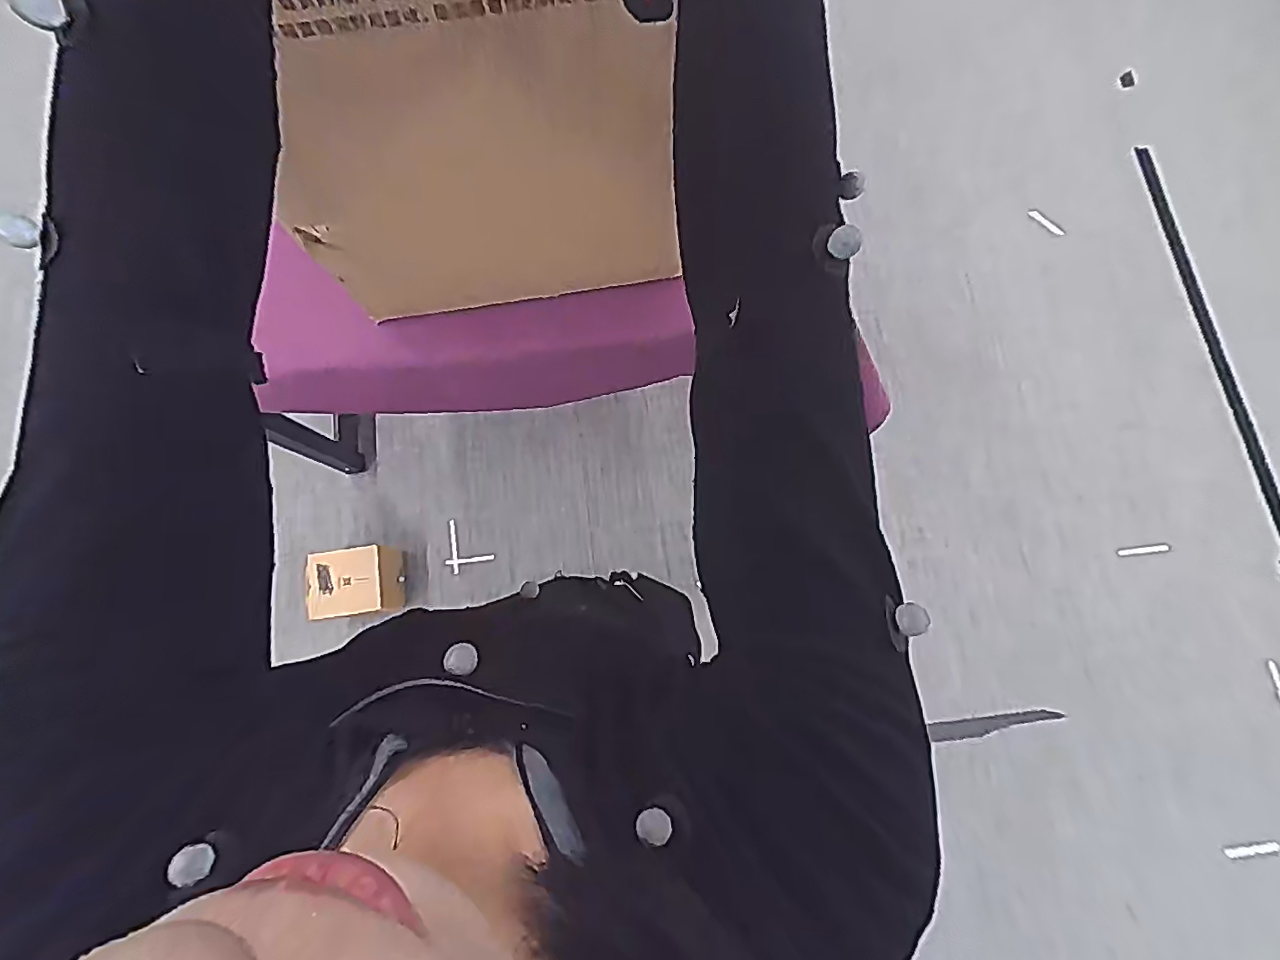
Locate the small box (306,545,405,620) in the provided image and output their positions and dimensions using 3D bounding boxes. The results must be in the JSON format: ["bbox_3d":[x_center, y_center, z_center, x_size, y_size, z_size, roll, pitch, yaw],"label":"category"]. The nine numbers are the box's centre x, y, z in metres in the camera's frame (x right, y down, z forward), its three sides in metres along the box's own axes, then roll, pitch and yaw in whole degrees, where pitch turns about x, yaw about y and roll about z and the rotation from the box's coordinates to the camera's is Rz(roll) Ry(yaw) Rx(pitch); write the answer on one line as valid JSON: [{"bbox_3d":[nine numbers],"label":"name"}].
[{"bbox_3d":[-0.741,0.271,1.417,0.179,0.176,0.168,-8,79,-4],"label":"small box"}]
